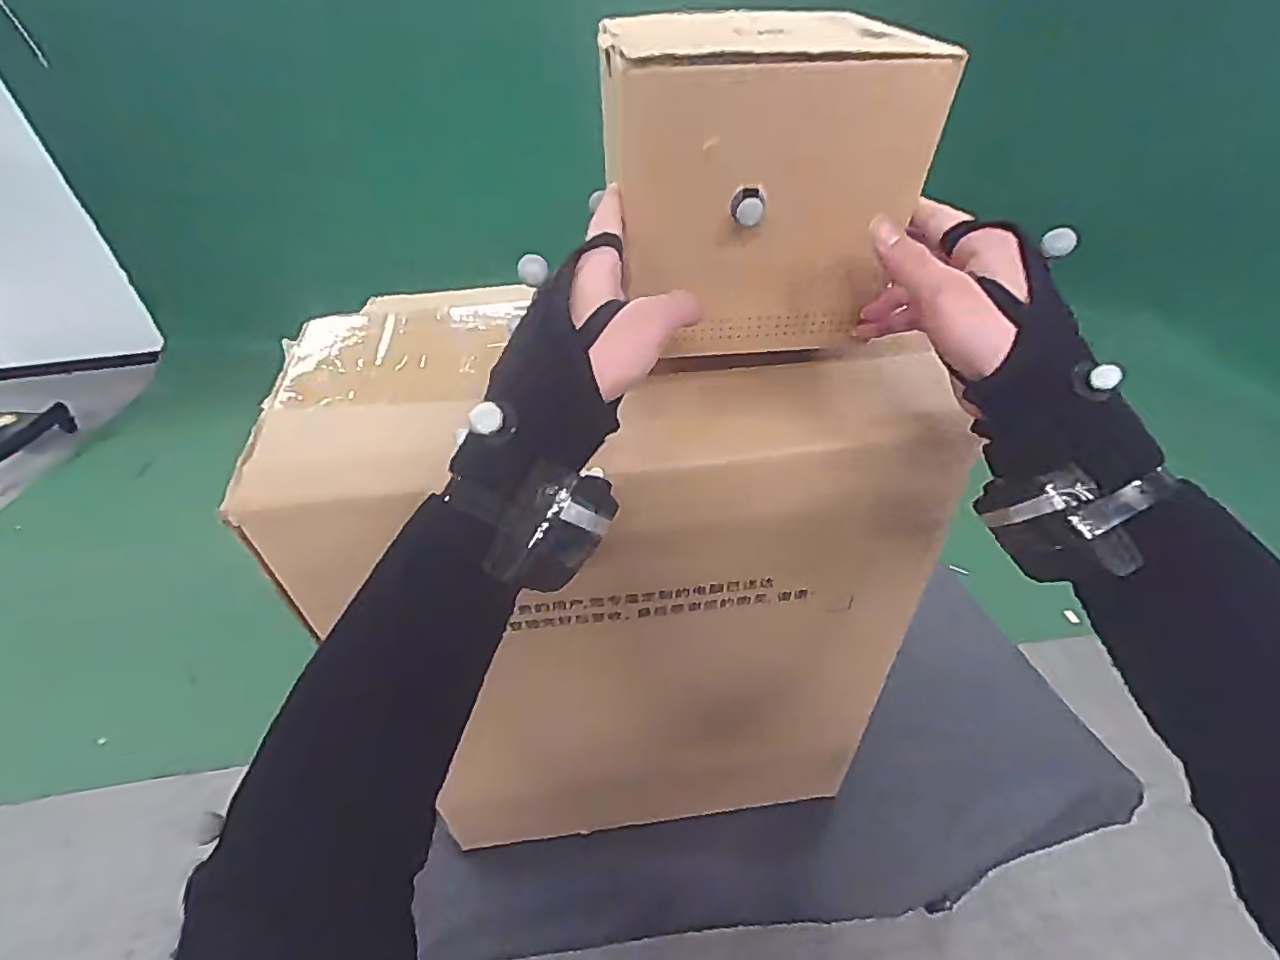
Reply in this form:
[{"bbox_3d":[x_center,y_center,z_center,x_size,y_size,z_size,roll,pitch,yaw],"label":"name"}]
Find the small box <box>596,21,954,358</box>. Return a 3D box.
[{"bbox_3d":[0.066,-0.198,0.375,0.179,0.176,0.168,-5,46,-4],"label":"small box"}]
